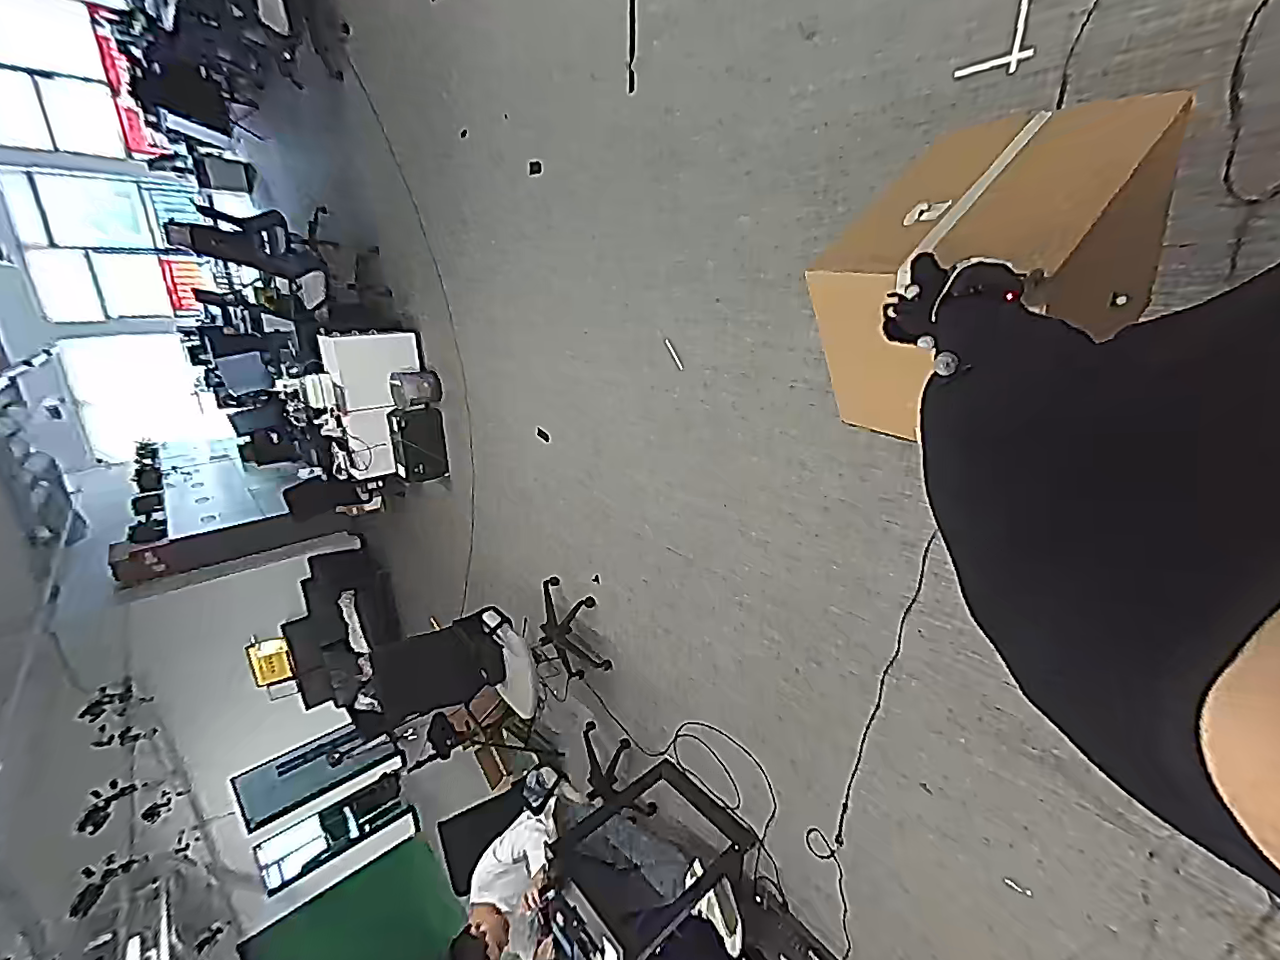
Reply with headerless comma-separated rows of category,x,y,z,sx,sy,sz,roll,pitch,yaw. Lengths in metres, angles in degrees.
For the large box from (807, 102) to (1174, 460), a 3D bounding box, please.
large box,0.533,-0.305,0.849,0.320,0.408,0.320,27,157,47
